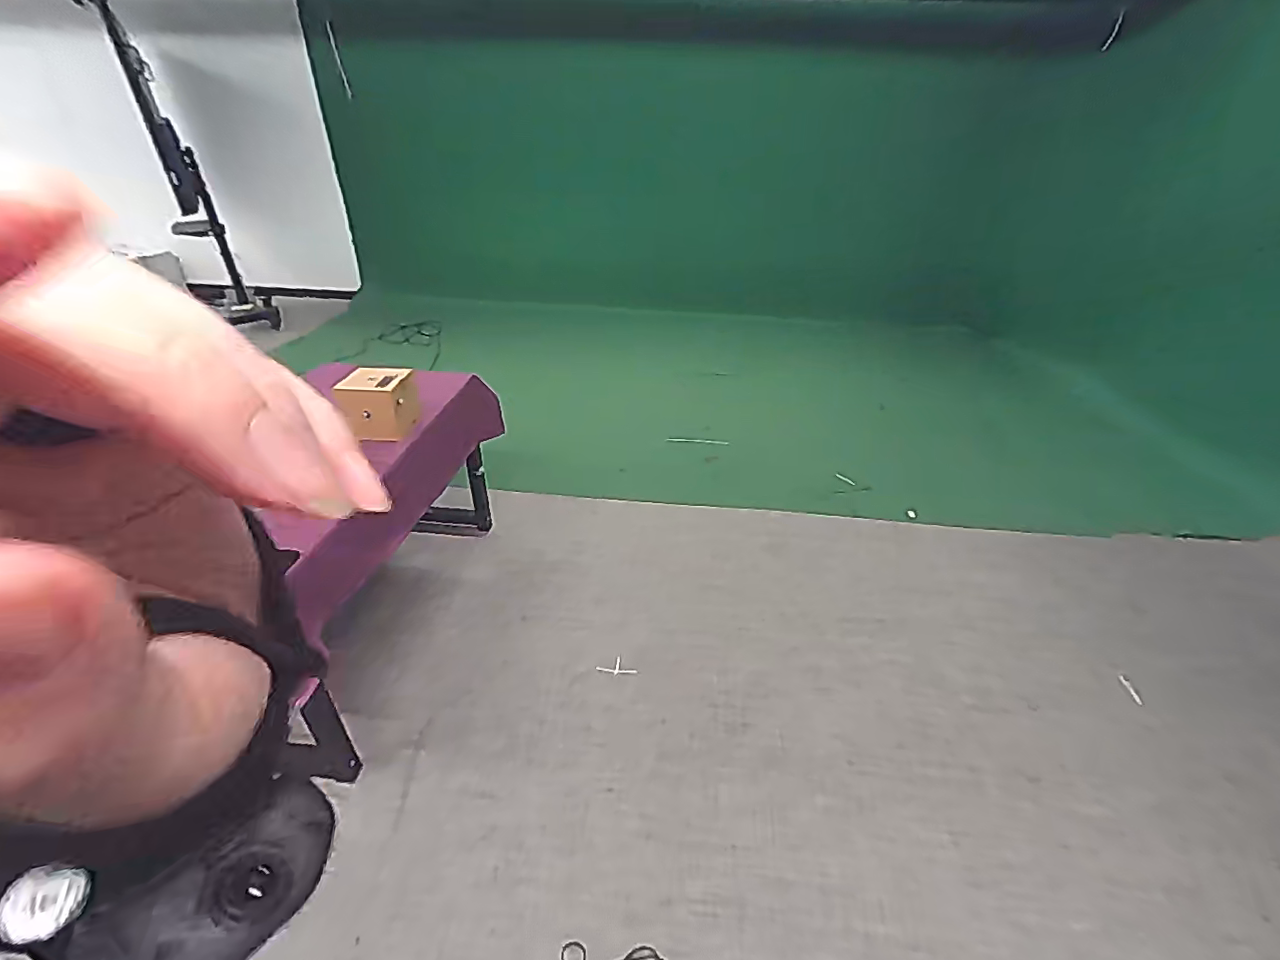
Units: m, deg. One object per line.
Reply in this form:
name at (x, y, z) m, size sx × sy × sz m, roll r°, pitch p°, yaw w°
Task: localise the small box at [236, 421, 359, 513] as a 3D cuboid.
small box at (-0.839, -0.033, 1.344) m, size 0.179 × 0.176 × 0.168 m, roll 6°, pitch 33°, yaw 4°
